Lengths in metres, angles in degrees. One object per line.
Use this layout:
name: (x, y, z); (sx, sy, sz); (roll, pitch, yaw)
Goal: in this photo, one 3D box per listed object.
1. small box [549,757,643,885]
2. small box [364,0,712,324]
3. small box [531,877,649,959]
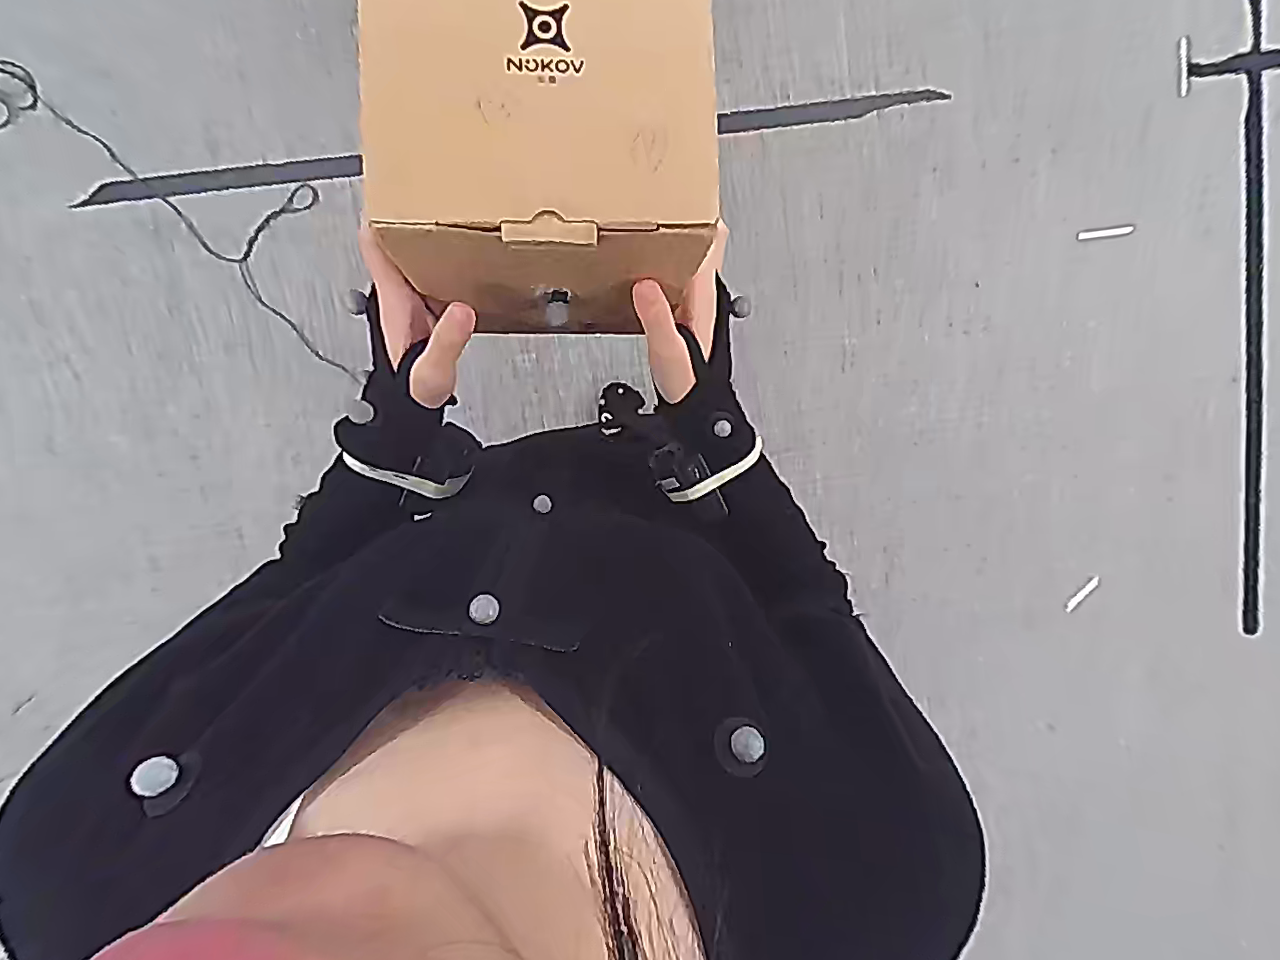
small box: (-0.094, 0.744, 1.196); (0.179, 0.176, 0.168); (-9, 96, -1)
small box: (-0.054, -0.204, 0.339); (0.168, 0.176, 0.179); (-2, 89, -7)
small box: (-0.075, 0.786, 0.871); (0.179, 0.176, 0.168); (-5, 97, -2)
